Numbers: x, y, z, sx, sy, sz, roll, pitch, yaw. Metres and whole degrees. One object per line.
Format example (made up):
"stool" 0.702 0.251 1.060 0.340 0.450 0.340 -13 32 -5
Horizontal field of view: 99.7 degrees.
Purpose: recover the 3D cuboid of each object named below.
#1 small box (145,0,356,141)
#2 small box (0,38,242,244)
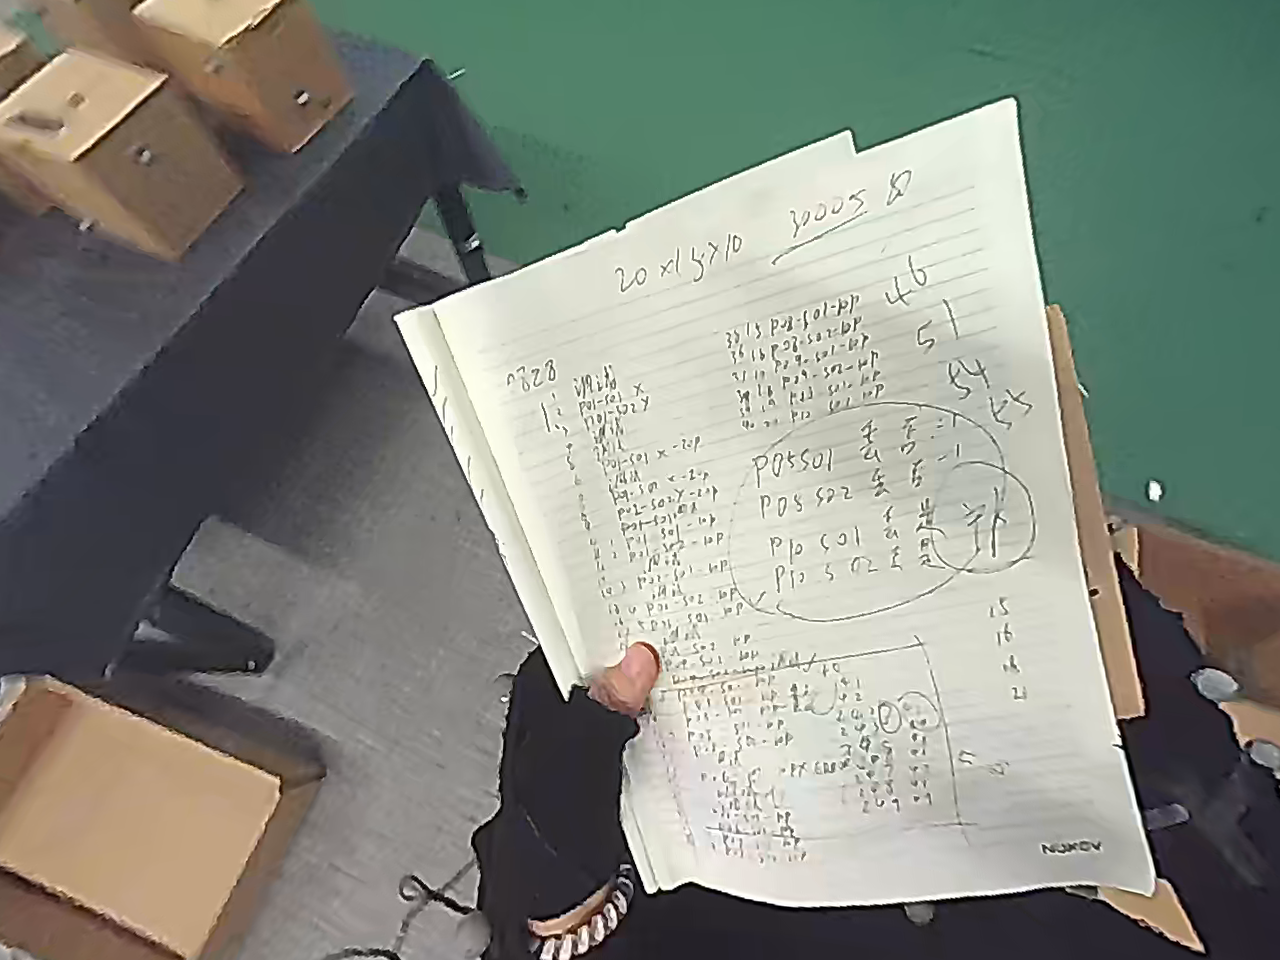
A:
"small box" -0.610 -0.692 0.872 0.179 0.176 0.168 27 71 9
"small box" -0.741 -0.482 0.786 0.168 0.176 0.179 22 69 7
